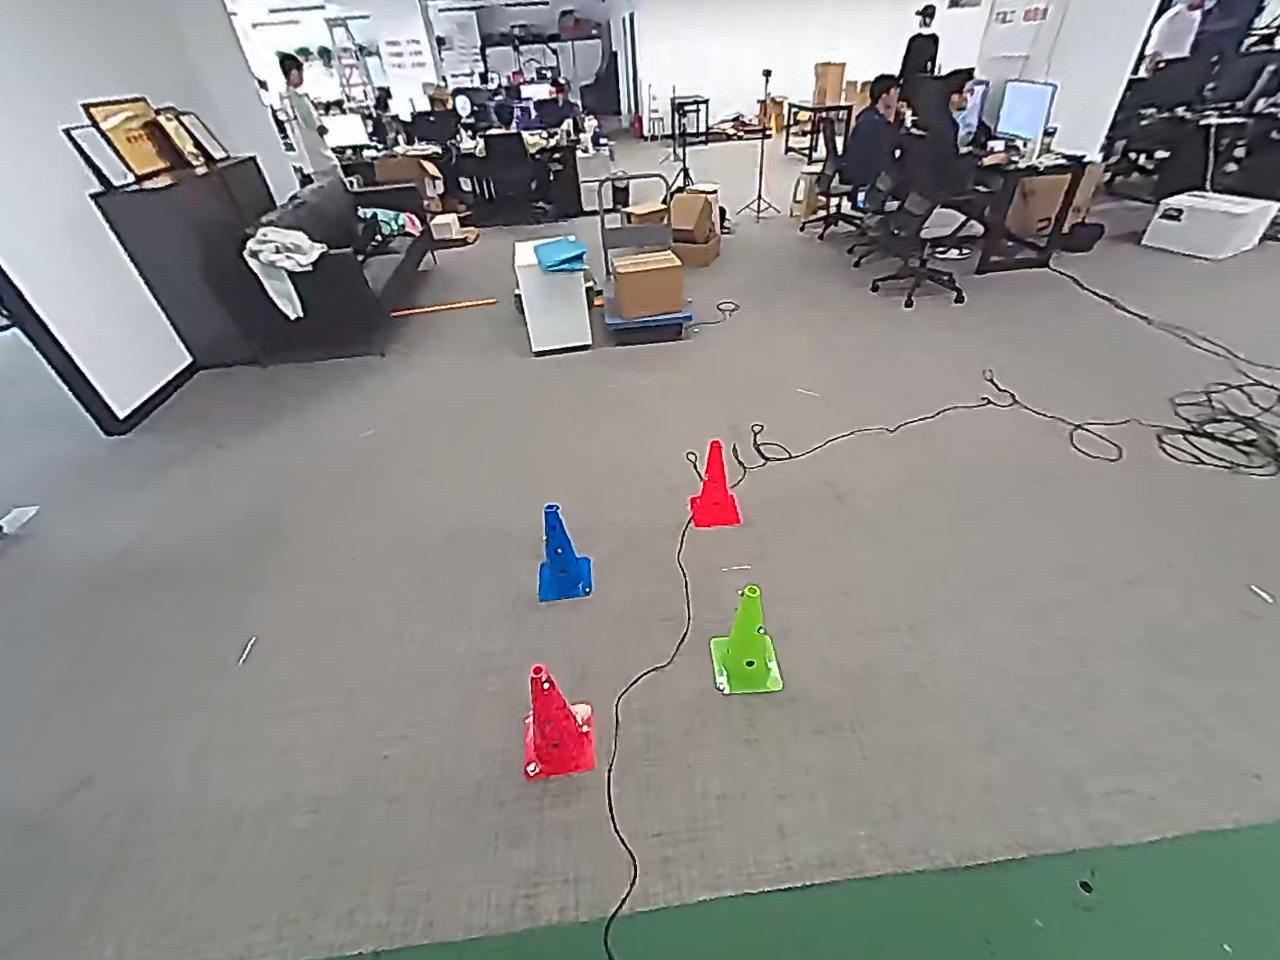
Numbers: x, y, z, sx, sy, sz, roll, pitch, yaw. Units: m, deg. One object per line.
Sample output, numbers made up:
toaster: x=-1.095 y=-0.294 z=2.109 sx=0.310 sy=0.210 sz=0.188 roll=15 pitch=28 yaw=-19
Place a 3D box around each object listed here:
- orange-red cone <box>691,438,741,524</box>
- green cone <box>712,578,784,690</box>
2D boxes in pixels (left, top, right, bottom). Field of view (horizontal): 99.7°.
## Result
orange-red cone: x=0.306 y=-0.016 z=2.188 sx=0.198 sy=0.360 sz=0.199 roll=-4 pitch=40 yaw=3
green cone: x=0.330 y=0.434 z=1.612 sx=0.200 sy=0.368 sz=0.202 roll=-5 pitch=37 yaw=0
